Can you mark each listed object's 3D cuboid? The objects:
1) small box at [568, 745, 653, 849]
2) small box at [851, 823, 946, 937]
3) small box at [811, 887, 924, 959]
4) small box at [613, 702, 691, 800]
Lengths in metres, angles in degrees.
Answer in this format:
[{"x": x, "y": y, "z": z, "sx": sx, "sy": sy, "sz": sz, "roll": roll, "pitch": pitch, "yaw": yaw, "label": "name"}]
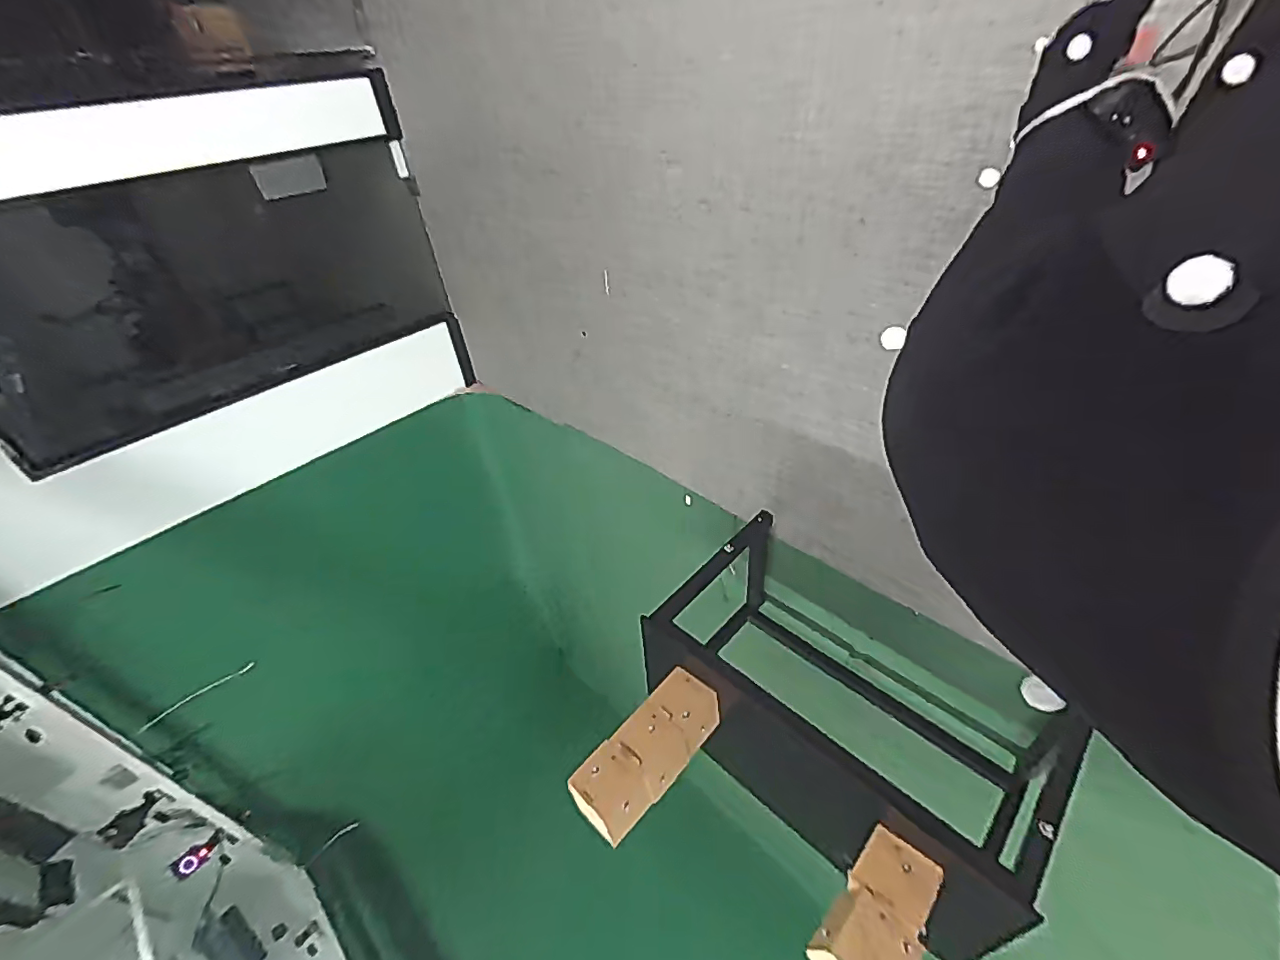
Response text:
[{"x": -0.083, "y": 0.931, "z": 1.600, "sx": 0.168, "sy": 0.176, "sz": 0.179, "roll": 23, "pitch": 138, "yaw": 40, "label": "small box"}, {"x": 0.661, "y": 1.038, "z": 1.388, "sx": 0.168, "sy": 0.176, "sz": 0.179, "roll": 23, "pitch": 136, "yaw": 41, "label": "small box"}, {"x": 0.549, "y": 1.122, "z": 1.301, "sx": 0.168, "sy": 0.176, "sz": 0.179, "roll": 39, "pitch": 146, "yaw": 24, "label": "small box"}, {"x": 0.045, "y": 0.842, "z": 1.690, "sx": 0.168, "sy": 0.176, "sz": 0.179, "roll": 22, "pitch": 137, "yaw": 39, "label": "small box"}]
